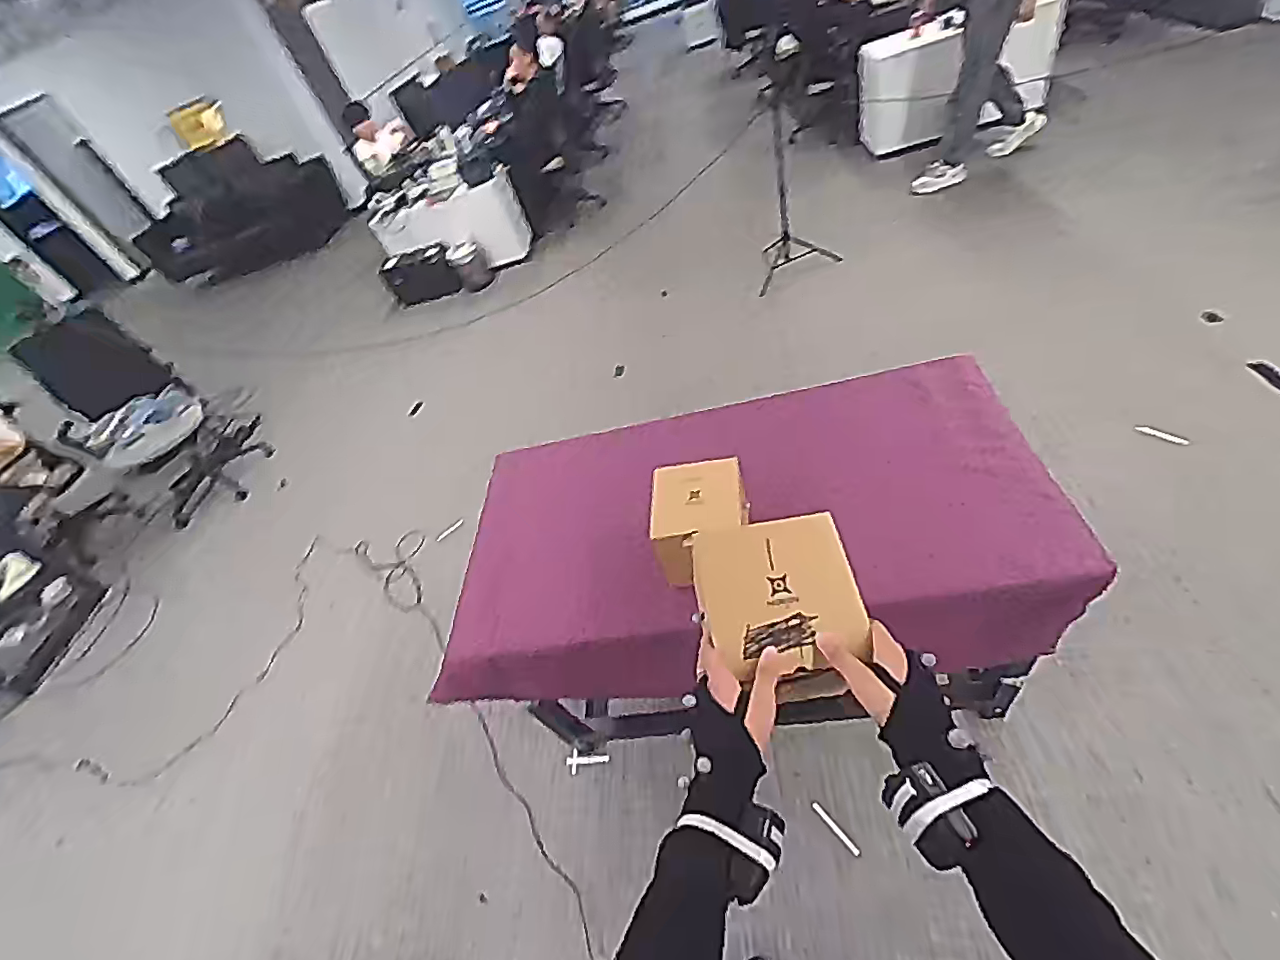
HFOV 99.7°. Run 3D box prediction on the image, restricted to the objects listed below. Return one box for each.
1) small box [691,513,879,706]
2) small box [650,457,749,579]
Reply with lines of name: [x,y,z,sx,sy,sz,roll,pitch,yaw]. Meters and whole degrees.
small box: [0.160,0.164,0.653,0.168,0.176,0.179,-10,57,1]
small box: [0.124,0.082,1.057,0.168,0.176,0.179,-7,46,14]
